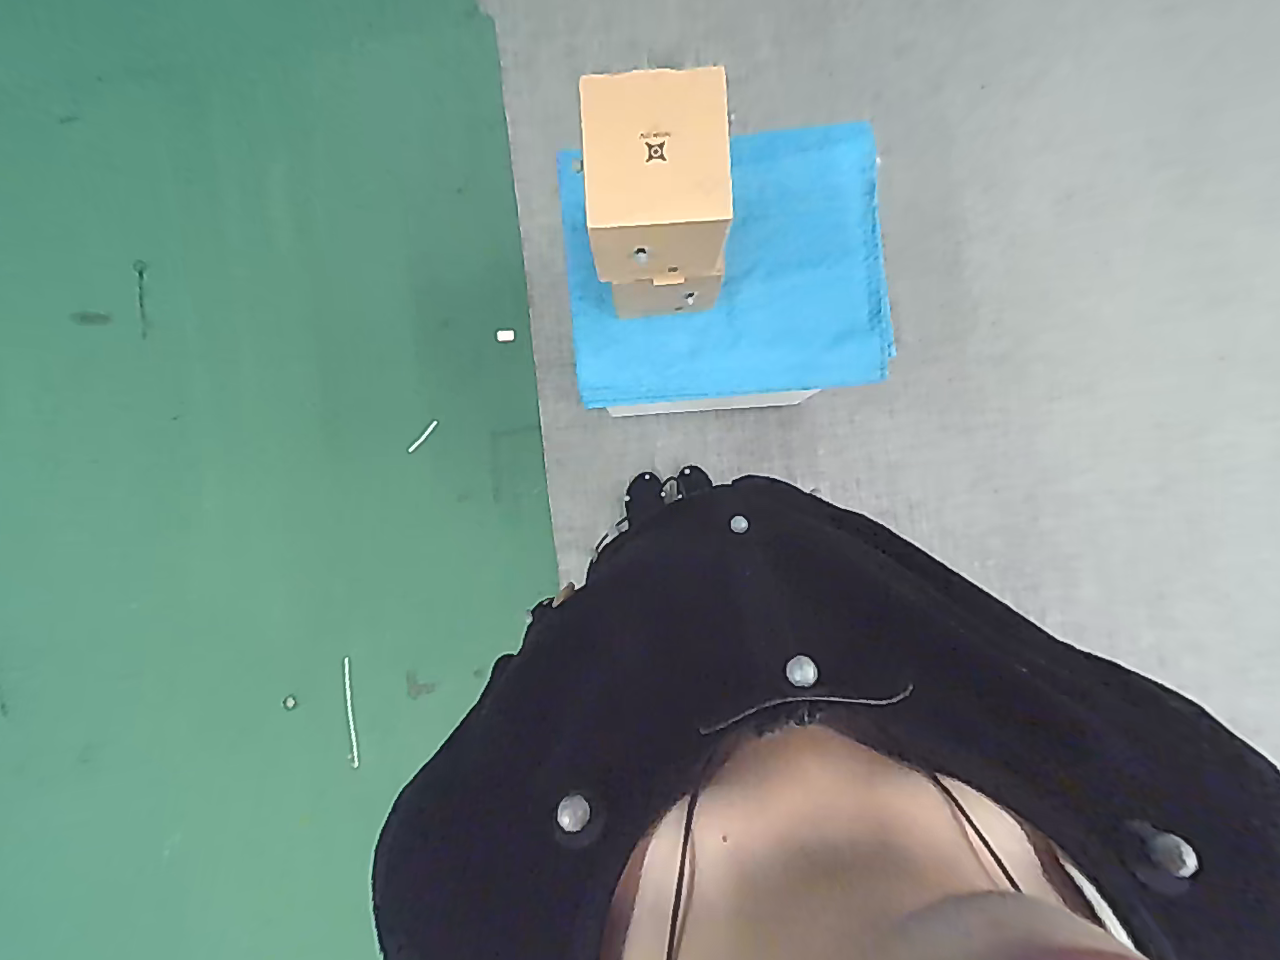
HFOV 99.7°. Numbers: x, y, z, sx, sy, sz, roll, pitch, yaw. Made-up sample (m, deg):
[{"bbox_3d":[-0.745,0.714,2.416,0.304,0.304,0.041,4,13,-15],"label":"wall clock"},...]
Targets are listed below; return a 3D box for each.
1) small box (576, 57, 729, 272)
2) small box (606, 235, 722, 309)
[{"bbox_3d":[0.016,-0.372,0.672,0.168,0.176,0.179,-3,89,1],"label":"small box"},{"bbox_3d":[0.031,-0.373,0.834,0.168,0.176,0.179,-4,89,0],"label":"small box"}]
